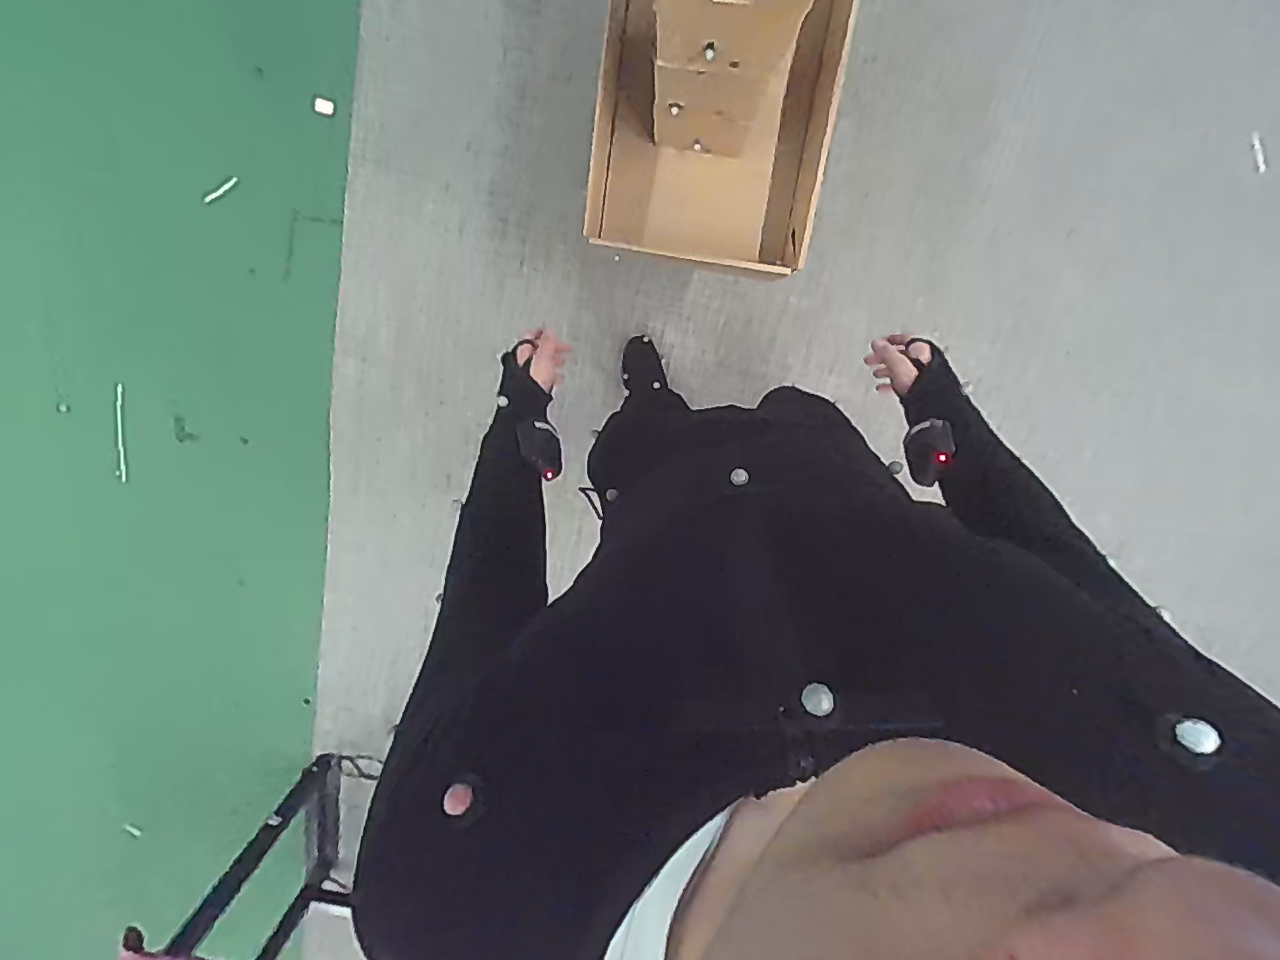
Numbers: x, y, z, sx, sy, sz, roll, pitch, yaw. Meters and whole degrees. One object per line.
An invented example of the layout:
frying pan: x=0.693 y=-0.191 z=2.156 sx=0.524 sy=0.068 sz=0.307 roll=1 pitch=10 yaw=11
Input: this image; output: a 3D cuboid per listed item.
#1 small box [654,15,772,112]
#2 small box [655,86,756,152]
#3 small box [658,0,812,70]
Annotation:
small box: x=0.113 y=-0.659 z=0.770 sx=0.168 sy=0.176 sz=0.179 roll=7 pitch=103 yaw=0
small box: x=0.119 y=-0.699 z=0.928 sx=0.168 sy=0.176 sz=0.179 roll=9 pitch=104 yaw=0
small box: x=0.111 y=-0.614 z=0.614 sx=0.168 sy=0.176 sz=0.179 roll=6 pitch=105 yaw=0
